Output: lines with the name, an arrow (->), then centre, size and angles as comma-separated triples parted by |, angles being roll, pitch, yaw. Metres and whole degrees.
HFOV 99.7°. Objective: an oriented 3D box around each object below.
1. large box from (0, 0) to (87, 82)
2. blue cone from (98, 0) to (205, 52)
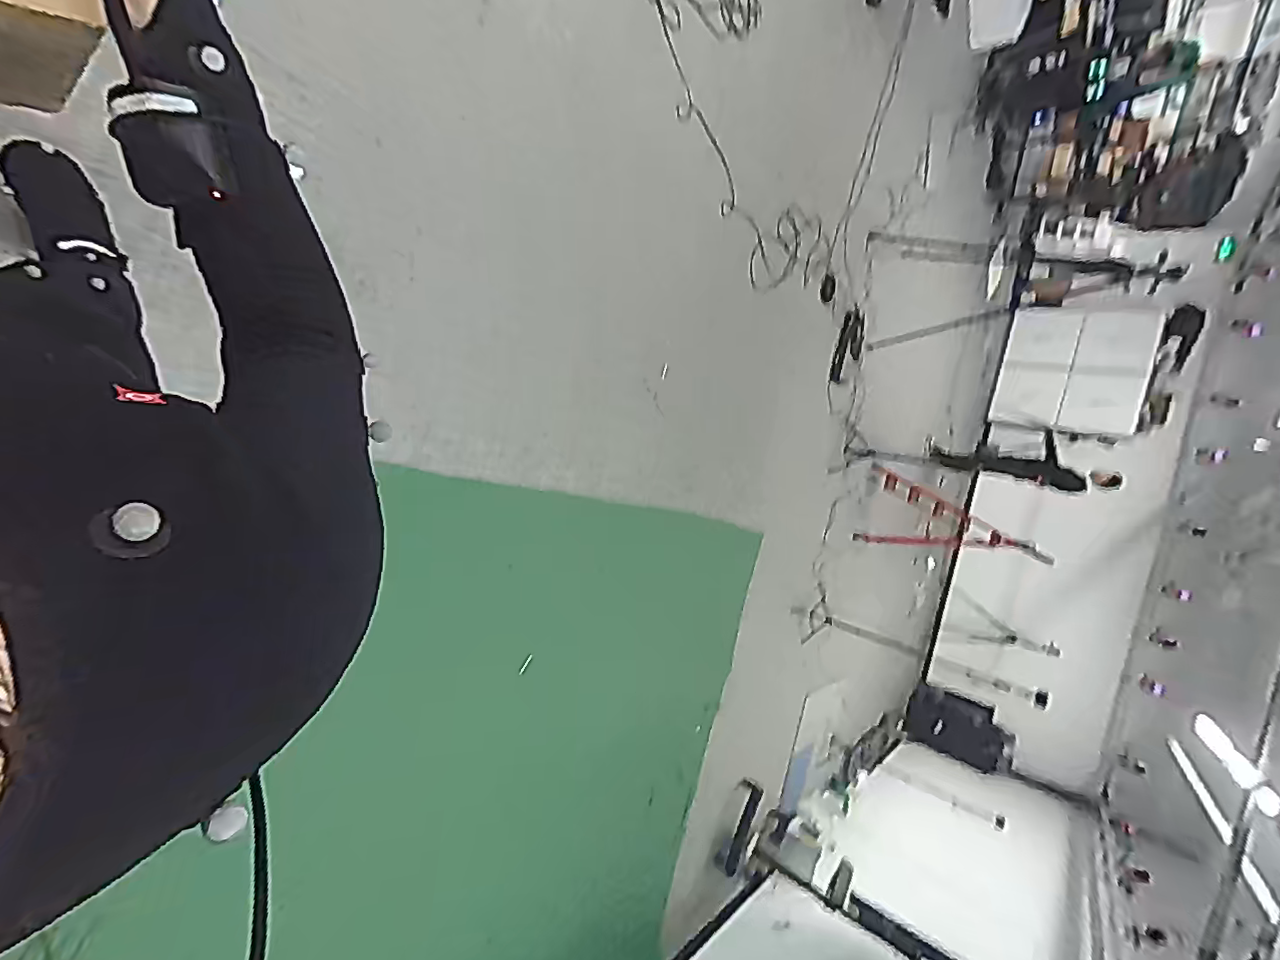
large box -> -0.584, -0.436, 0.238 | 0.408, 0.320, 0.320 | -21, 121, -47
blue cone -> -0.818, -0.911, 0.907 | 0.193, 0.380, 0.192 | 27, 81, -51
